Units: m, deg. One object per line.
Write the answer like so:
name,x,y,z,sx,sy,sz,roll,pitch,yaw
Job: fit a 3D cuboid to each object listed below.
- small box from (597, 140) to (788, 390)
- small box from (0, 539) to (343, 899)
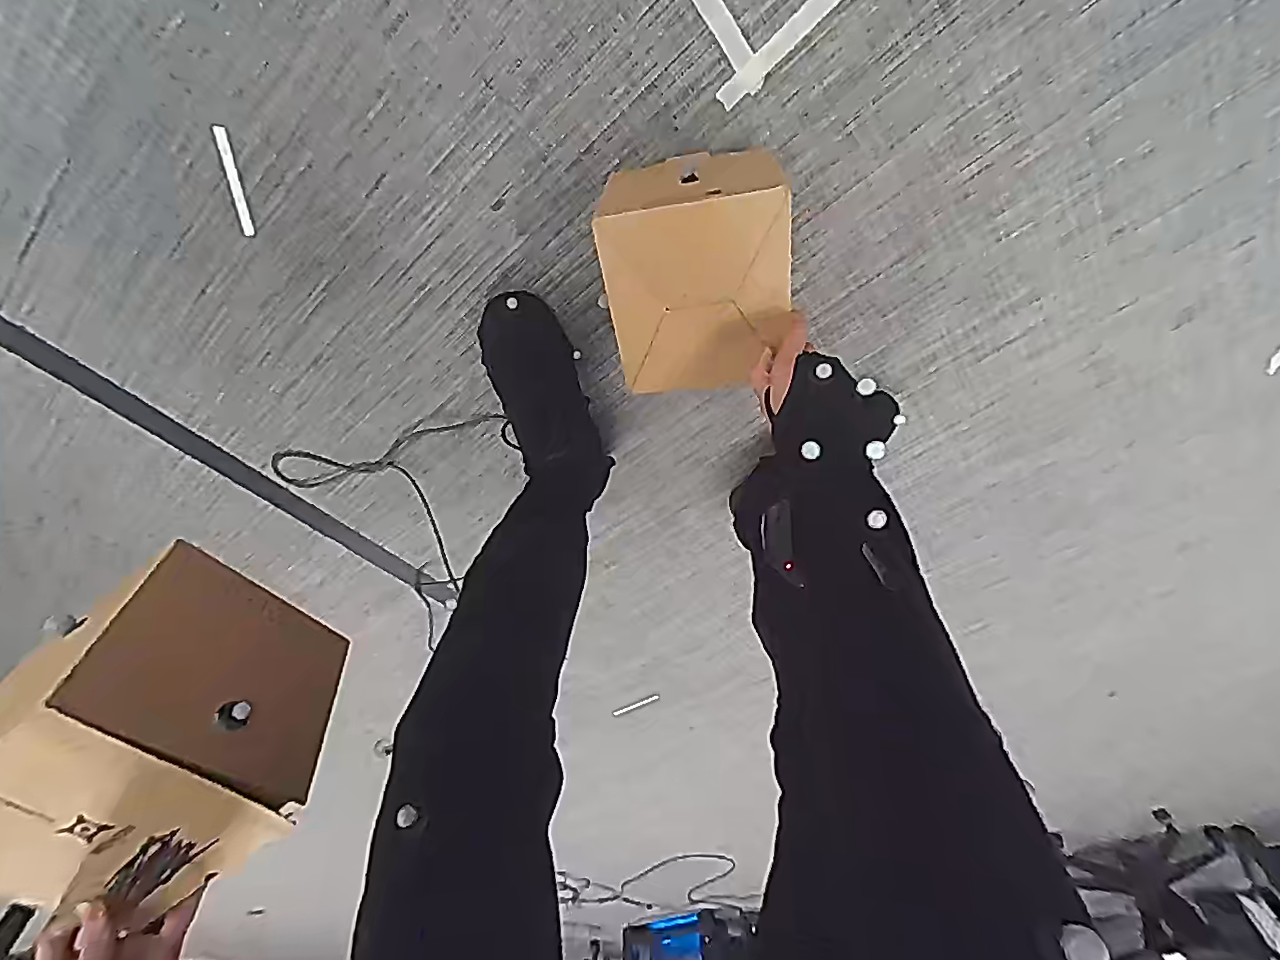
small box,0.058,-0.219,0.556,0.168,0.176,0.179,-6,131,11
small box,-0.376,0.181,0.429,0.168,0.176,0.179,-35,122,5
